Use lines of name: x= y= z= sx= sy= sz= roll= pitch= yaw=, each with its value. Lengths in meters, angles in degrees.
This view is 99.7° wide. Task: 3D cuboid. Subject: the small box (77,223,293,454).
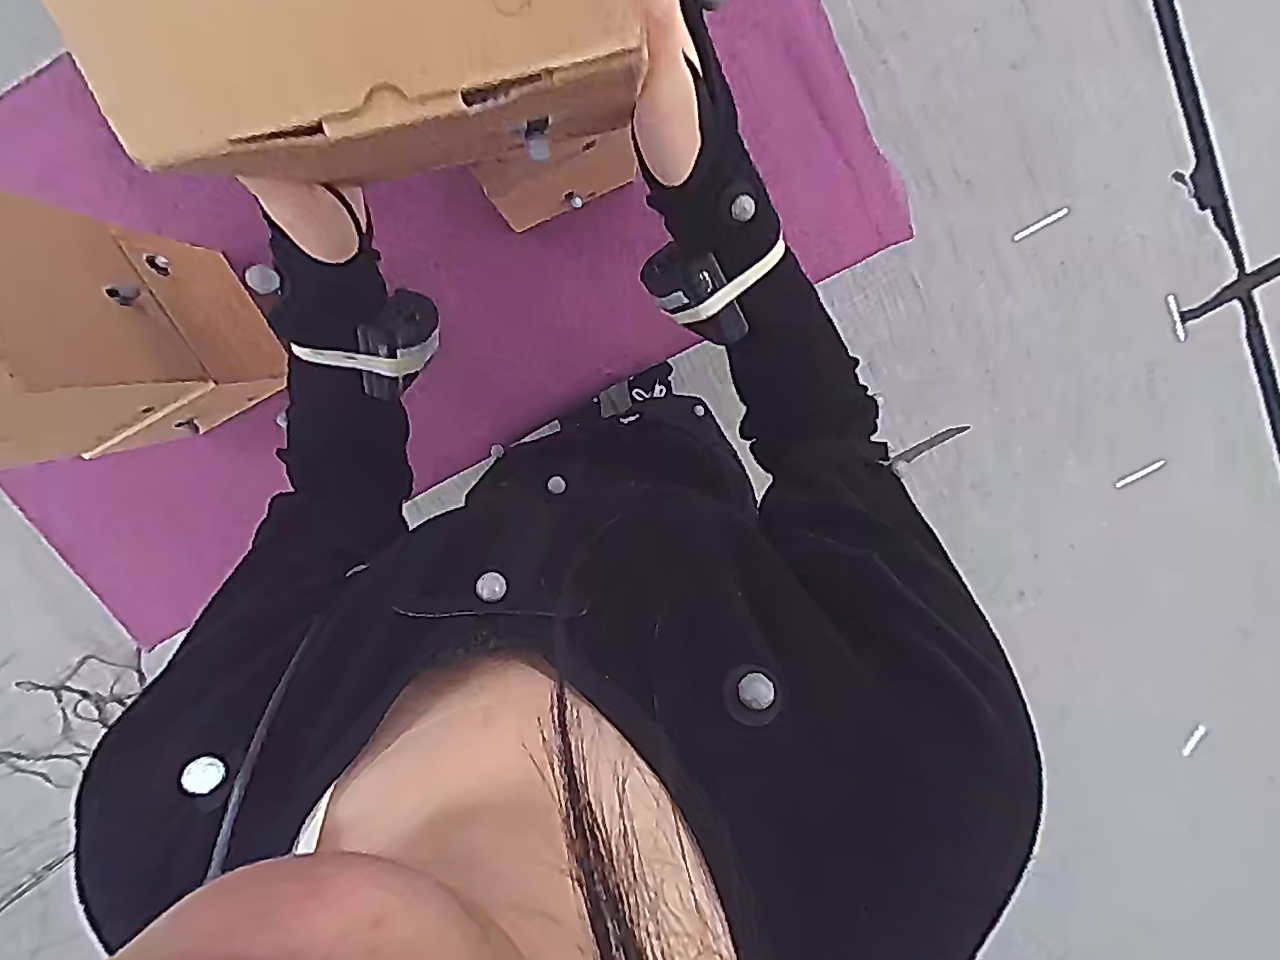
small box: x=-0.547 y=-0.154 z=0.612 sx=0.168 sy=0.176 sz=0.179 roll=-28 pitch=103 yaw=3

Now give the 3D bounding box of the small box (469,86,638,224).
small box: x=-0.113 y=-0.407 z=0.579 sx=0.168 sy=0.176 sz=0.179 roll=-23 pitch=103 yaw=3

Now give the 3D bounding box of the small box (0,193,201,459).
small box: x=-0.540 y=-0.122 z=0.451 sx=0.168 sy=0.176 sz=0.179 roll=-28 pitch=102 yaw=3

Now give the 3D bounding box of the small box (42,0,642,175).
small box: x=-0.097 y=-0.223 z=0.198 sx=0.168 sy=0.176 sz=0.179 roll=-12 pitch=117 yaw=1
